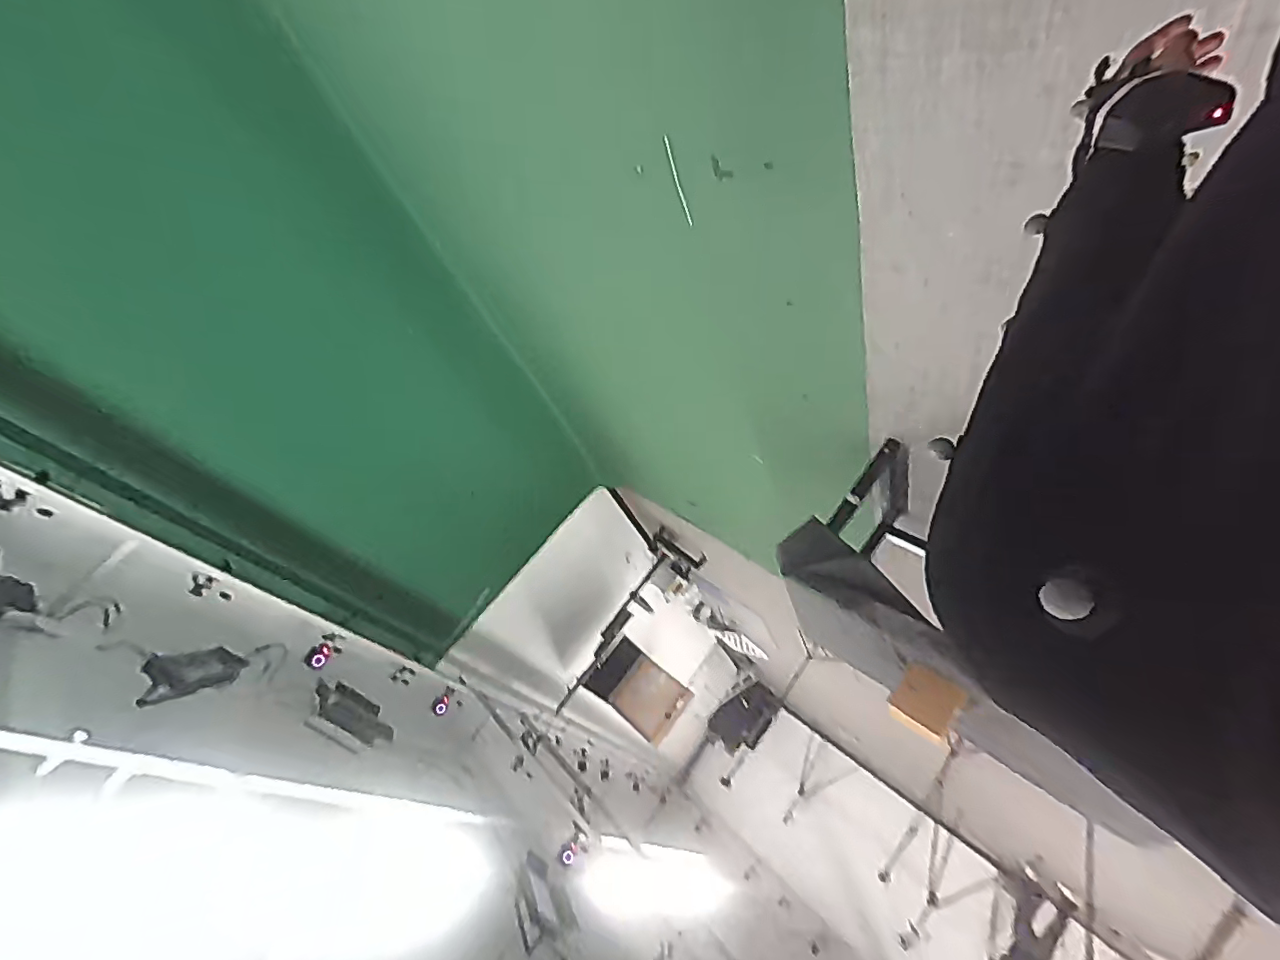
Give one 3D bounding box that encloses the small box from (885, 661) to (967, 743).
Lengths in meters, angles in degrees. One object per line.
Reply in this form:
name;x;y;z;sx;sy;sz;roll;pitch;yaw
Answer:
small box;0.914;0.703;1.735;0.179;0.176;0.168;28;162;38
